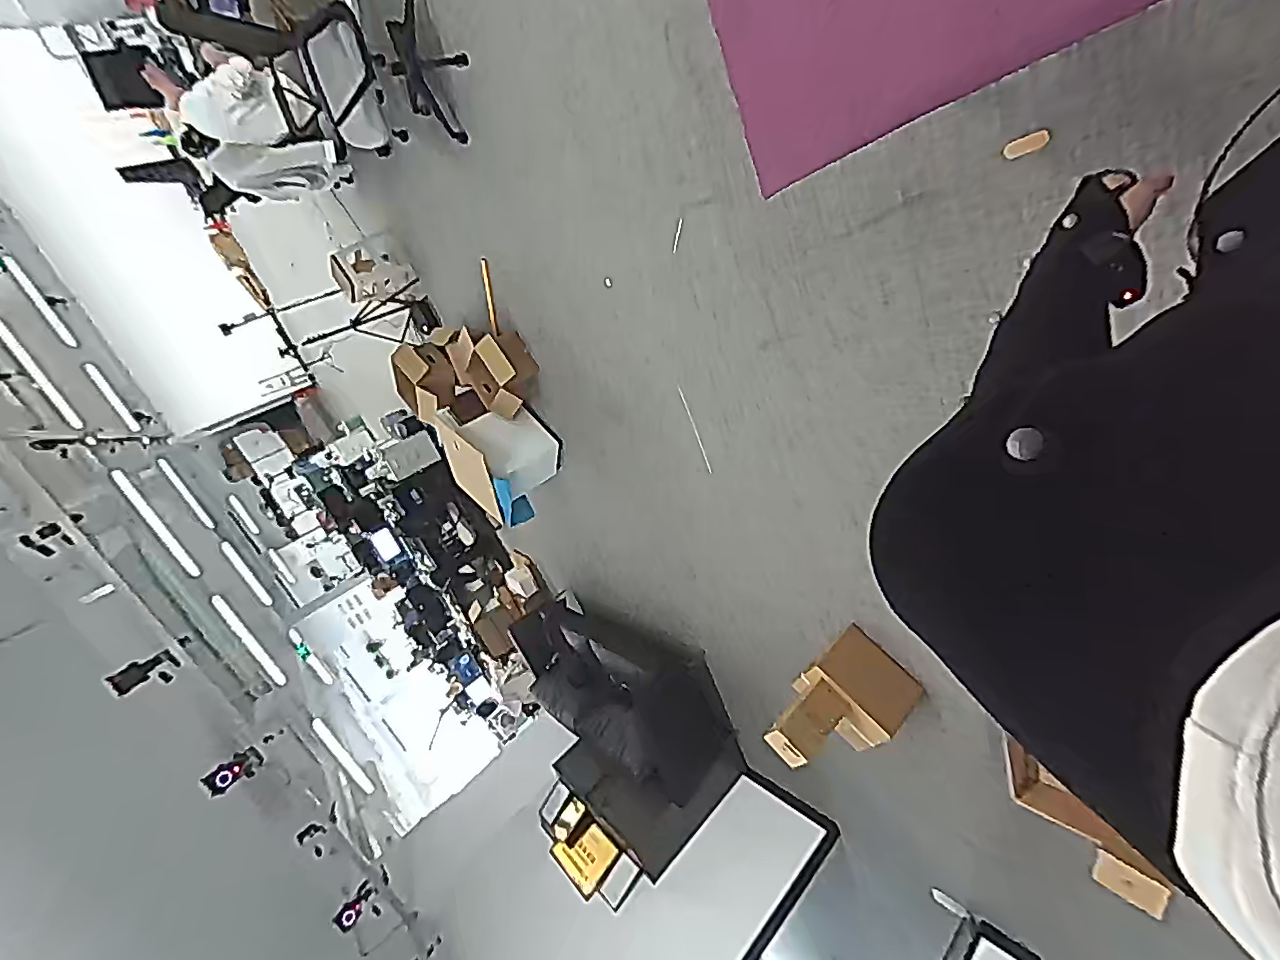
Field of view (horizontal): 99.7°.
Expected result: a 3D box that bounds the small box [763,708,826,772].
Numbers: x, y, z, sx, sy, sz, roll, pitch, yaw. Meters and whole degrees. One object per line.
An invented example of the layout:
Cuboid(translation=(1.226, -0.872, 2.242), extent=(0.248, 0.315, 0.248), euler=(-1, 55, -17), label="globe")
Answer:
Cuboid(translation=(0.661, 1.099, 2.296), extent=(0.168, 0.176, 0.179), euler=(44, 149, 19), label="small box")

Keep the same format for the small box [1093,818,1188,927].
Cuboid(translation=(1.526, 1.189, 1.649), extent=(0.168, 0.176, 0.179), euler=(21, 135, 49), label="small box")

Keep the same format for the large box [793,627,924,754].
Cuboid(translation=(1.001, 0.969, 2.501), extent=(0.408, 0.320, 0.320), euler=(43, 149, 20), label="large box")

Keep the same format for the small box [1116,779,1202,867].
Cuboid(translation=(1.647, 1.108, 1.721), extent=(0.168, 0.176, 0.179), euler=(17, 132, 53), label="small box")
